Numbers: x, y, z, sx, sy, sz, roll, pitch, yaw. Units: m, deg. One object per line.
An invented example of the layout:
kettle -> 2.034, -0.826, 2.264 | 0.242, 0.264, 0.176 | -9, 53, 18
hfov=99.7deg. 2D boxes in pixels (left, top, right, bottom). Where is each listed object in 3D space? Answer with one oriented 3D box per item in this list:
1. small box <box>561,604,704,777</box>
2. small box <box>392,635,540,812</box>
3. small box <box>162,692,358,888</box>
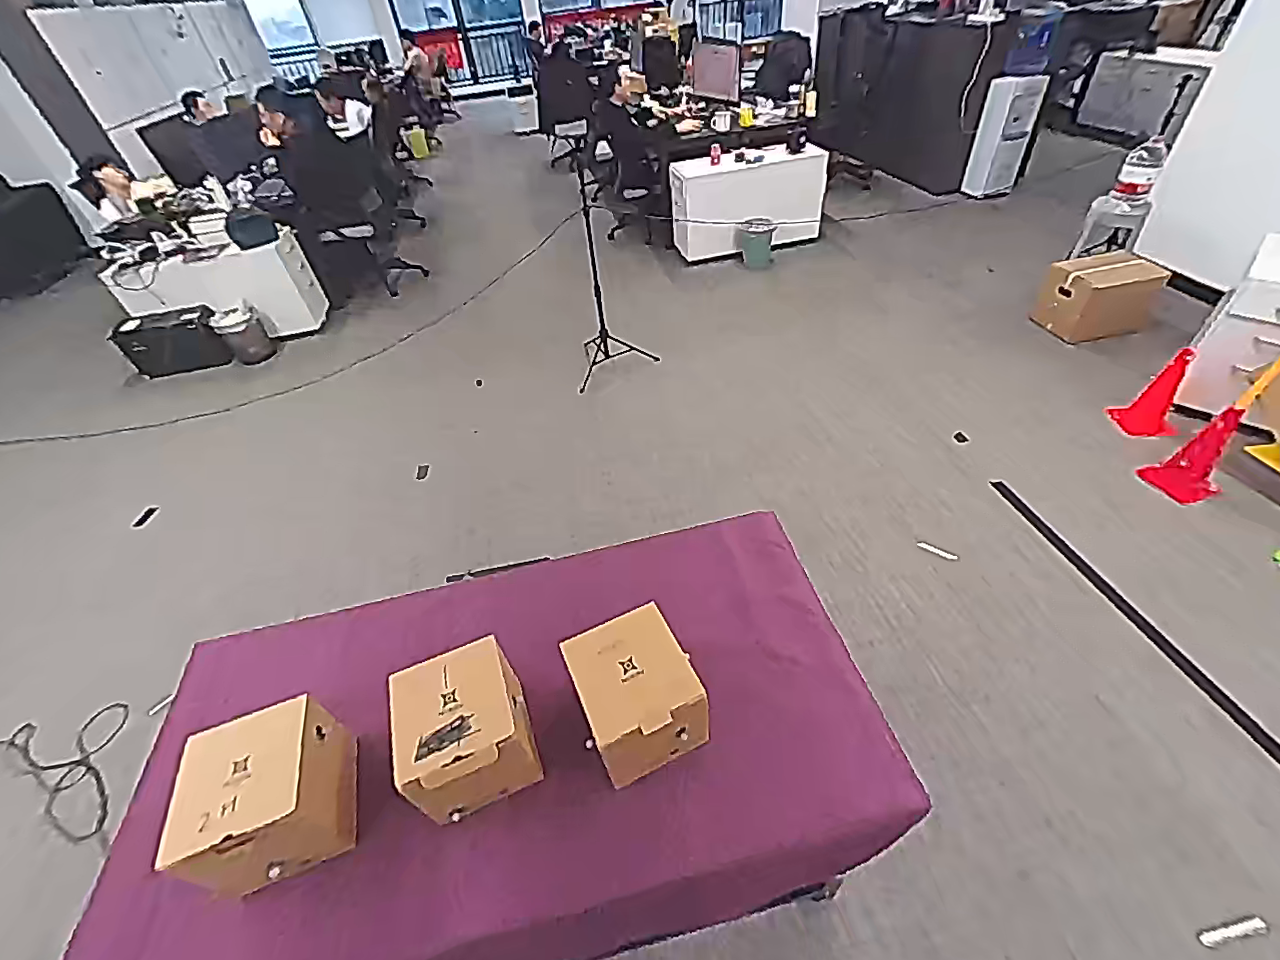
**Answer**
small box -> -0.008, 0.337, 0.852 | 0.168, 0.176, 0.179 | -20, 44, -14
small box -> -0.266, 0.382, 0.837 | 0.168, 0.176, 0.179 | -19, 43, -12
small box -> -0.536, 0.454, 0.795 | 0.168, 0.176, 0.179 | -18, 44, -11
